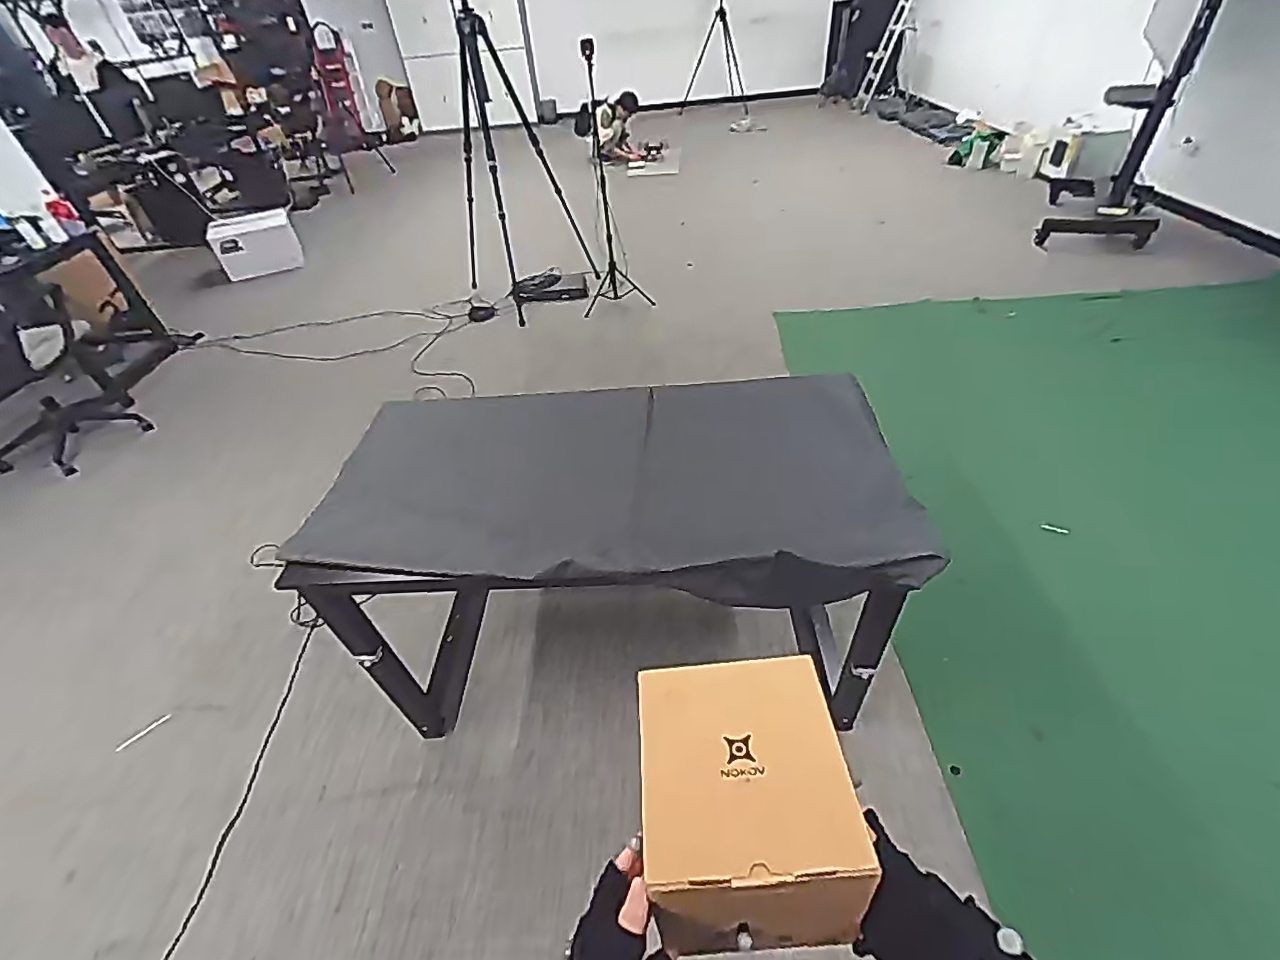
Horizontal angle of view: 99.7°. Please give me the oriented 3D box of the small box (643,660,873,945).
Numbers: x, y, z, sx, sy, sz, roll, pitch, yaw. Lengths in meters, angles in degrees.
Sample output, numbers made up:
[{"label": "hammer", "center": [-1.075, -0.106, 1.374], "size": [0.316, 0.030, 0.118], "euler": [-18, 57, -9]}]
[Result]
[{"label": "small box", "center": [0.093, 0.296, 0.504], "size": [0.168, 0.176, 0.179], "euler": [-6, 38, 3]}]
